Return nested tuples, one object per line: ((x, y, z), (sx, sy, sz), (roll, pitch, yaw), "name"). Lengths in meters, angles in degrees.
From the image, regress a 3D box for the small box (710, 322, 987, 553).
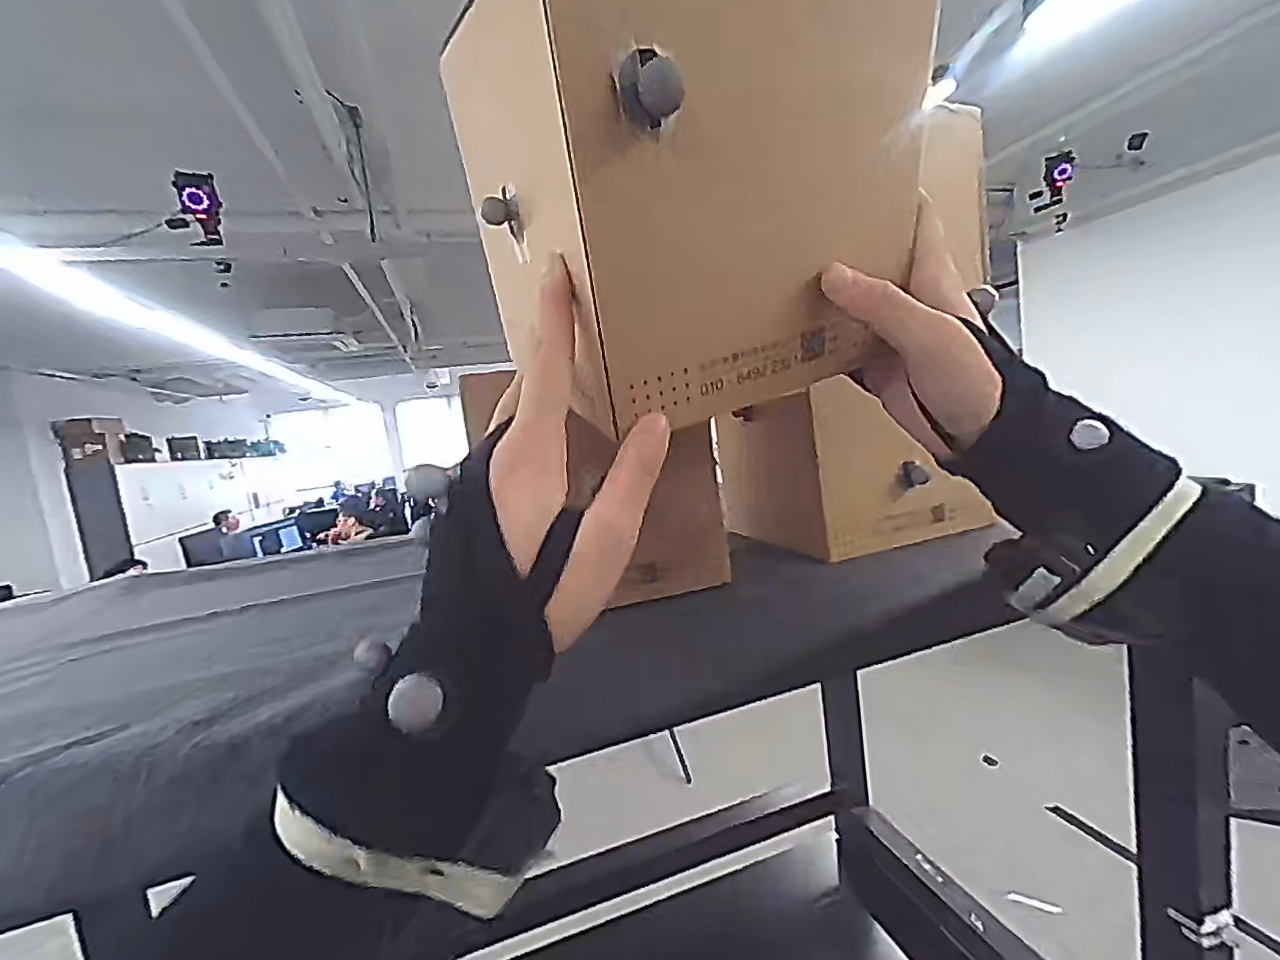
((0.181, -0.037, 0.500), (0.168, 0.176, 0.179), (-11, 6, -15), "small box")

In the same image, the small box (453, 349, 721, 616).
((-0.045, 0.000, 0.439), (0.168, 0.176, 0.179), (-9, 5, -13), "small box")

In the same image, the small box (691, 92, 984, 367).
((0.162, -0.201, 0.473), (0.179, 0.176, 0.168), (-9, 5, -20), "small box")
